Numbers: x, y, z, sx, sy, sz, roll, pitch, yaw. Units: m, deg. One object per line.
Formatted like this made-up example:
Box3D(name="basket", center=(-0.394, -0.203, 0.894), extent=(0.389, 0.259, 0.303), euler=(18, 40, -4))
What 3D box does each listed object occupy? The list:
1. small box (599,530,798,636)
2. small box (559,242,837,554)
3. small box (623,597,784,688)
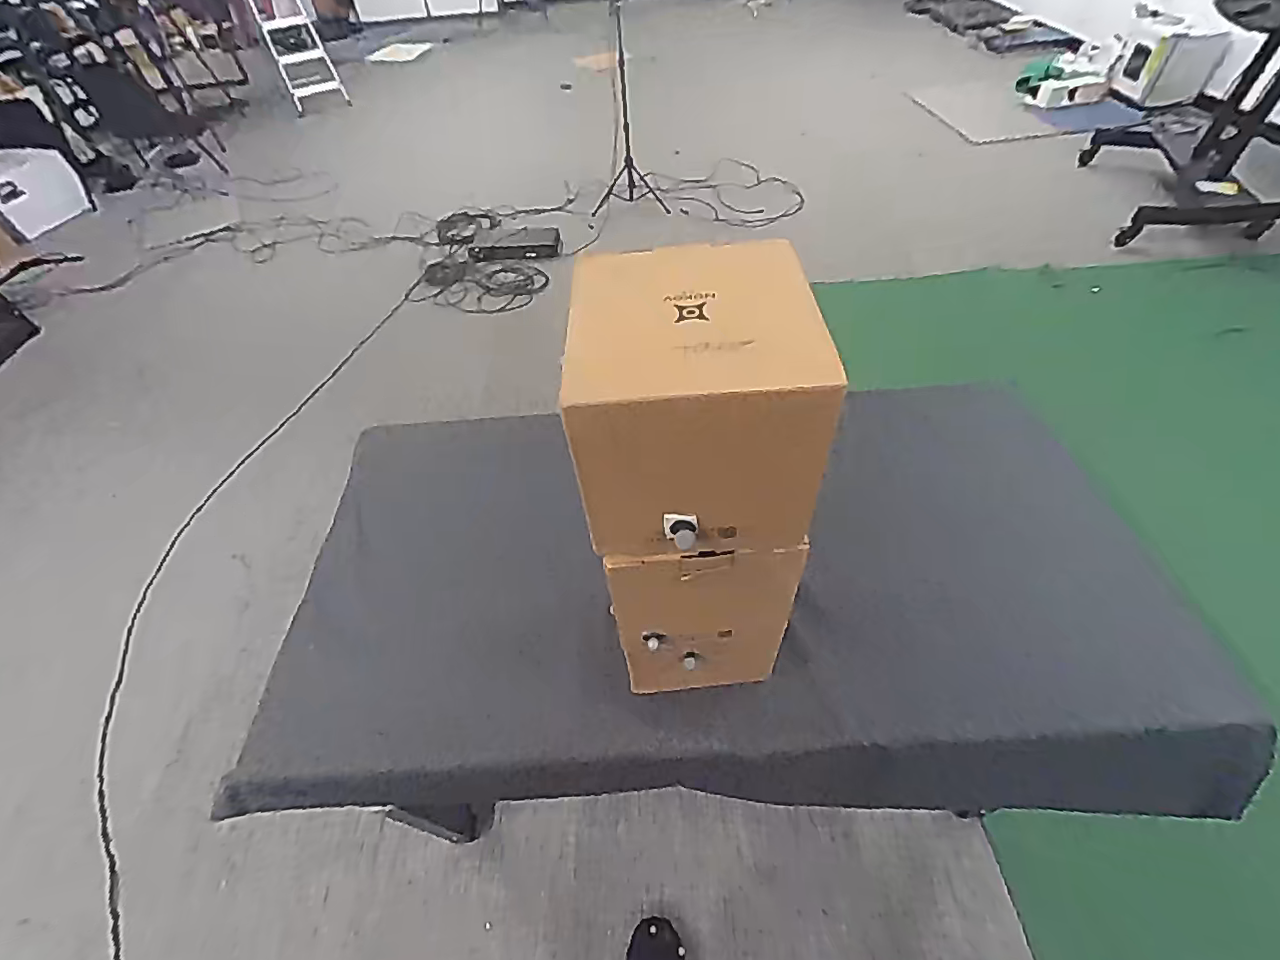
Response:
Box3D(name="small box", center=(0.050, 0.046, 0.549), extent=(0.168, 0.176, 0.179), euler=(-6, 48, 1))
Box3D(name="small box", center=(0.038, -0.062, 0.429), extent=(0.168, 0.176, 0.179), euler=(-5, 50, 3))
Box3D(name="small box", center=(0.066, 0.145, 0.683), extent=(0.179, 0.176, 0.168), euler=(-8, 48, -2))
